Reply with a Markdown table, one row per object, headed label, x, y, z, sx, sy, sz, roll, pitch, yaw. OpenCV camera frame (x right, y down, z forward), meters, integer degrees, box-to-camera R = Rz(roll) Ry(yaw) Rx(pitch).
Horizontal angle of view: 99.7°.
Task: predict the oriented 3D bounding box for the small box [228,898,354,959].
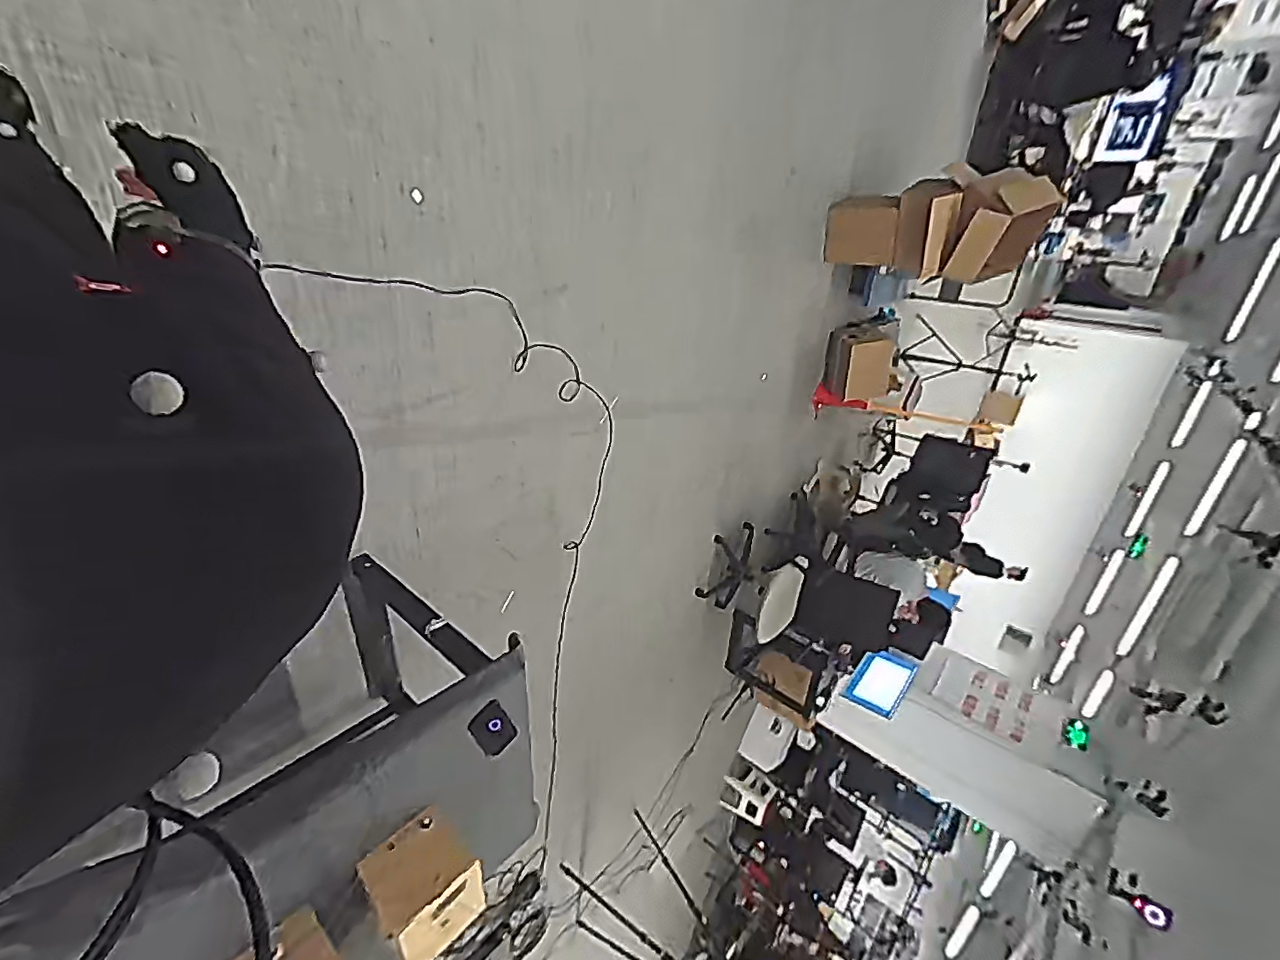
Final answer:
| label | x | y | z | sx | sy | sz | roll | pitch | yaw |
| --- | --- | --- | --- | --- | --- | --- | --- | --- | --- |
| small box | -0.583 | 0.873 | 0.919 | 0.168 | 0.176 | 0.179 | -29 | 129 | -44 |

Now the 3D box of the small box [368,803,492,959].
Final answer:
| label | x | y | z | sx | sy | sz | roll | pitch | yaw |
| --- | --- | --- | --- | --- | --- | --- | --- | --- | --- |
| small box | -0.422 | 0.796 | 1.087 | 0.168 | 0.176 | 0.179 | -26 | 129 | -44 |
